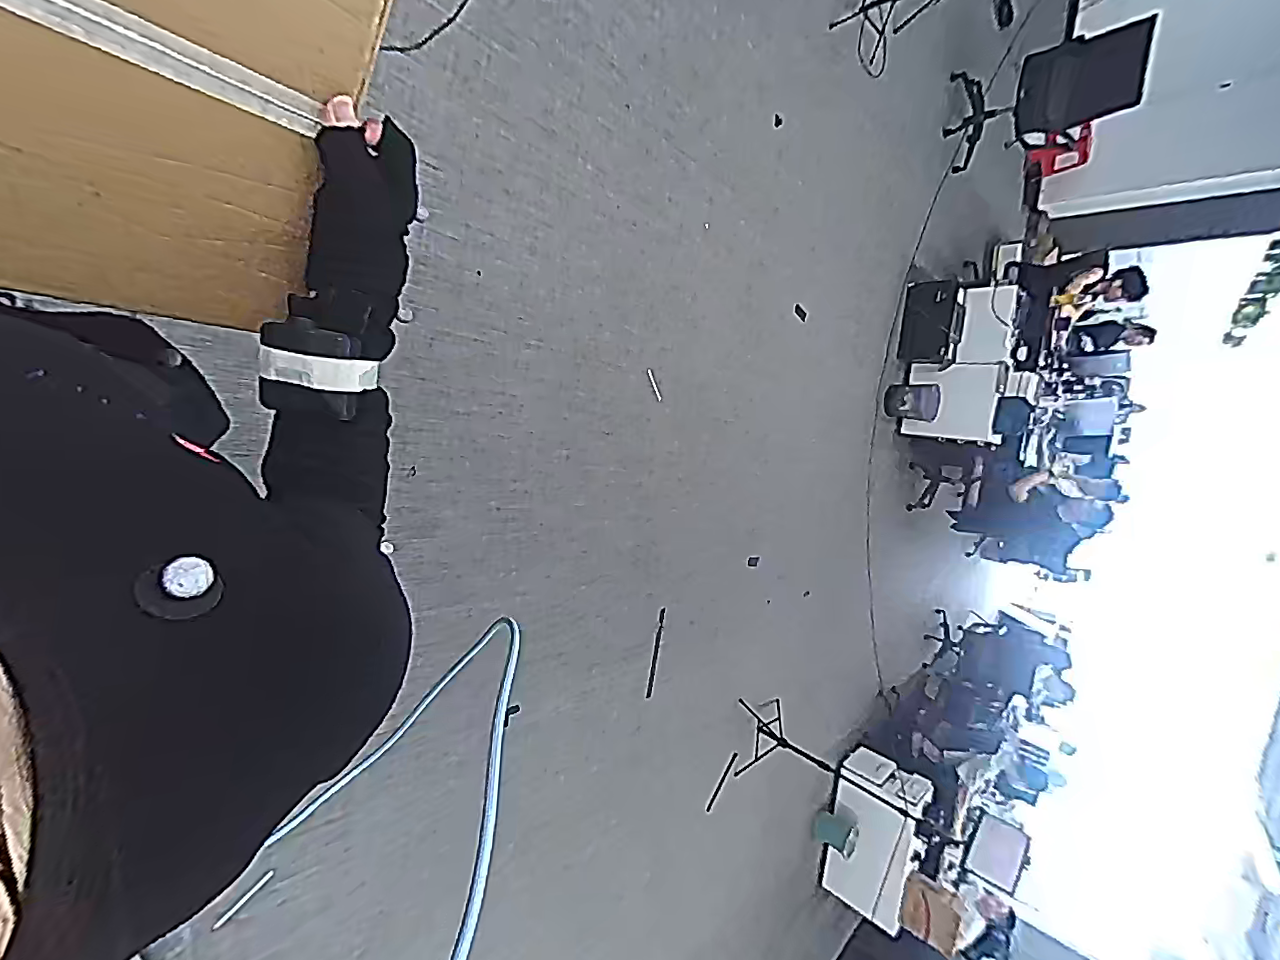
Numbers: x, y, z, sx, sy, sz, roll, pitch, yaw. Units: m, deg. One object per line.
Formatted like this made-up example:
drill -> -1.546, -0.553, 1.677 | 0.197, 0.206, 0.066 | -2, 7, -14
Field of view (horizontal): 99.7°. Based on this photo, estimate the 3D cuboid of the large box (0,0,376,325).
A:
large box -> -0.407, -0.330, 0.277 | 0.408, 0.320, 0.320 | 0, 134, -49
